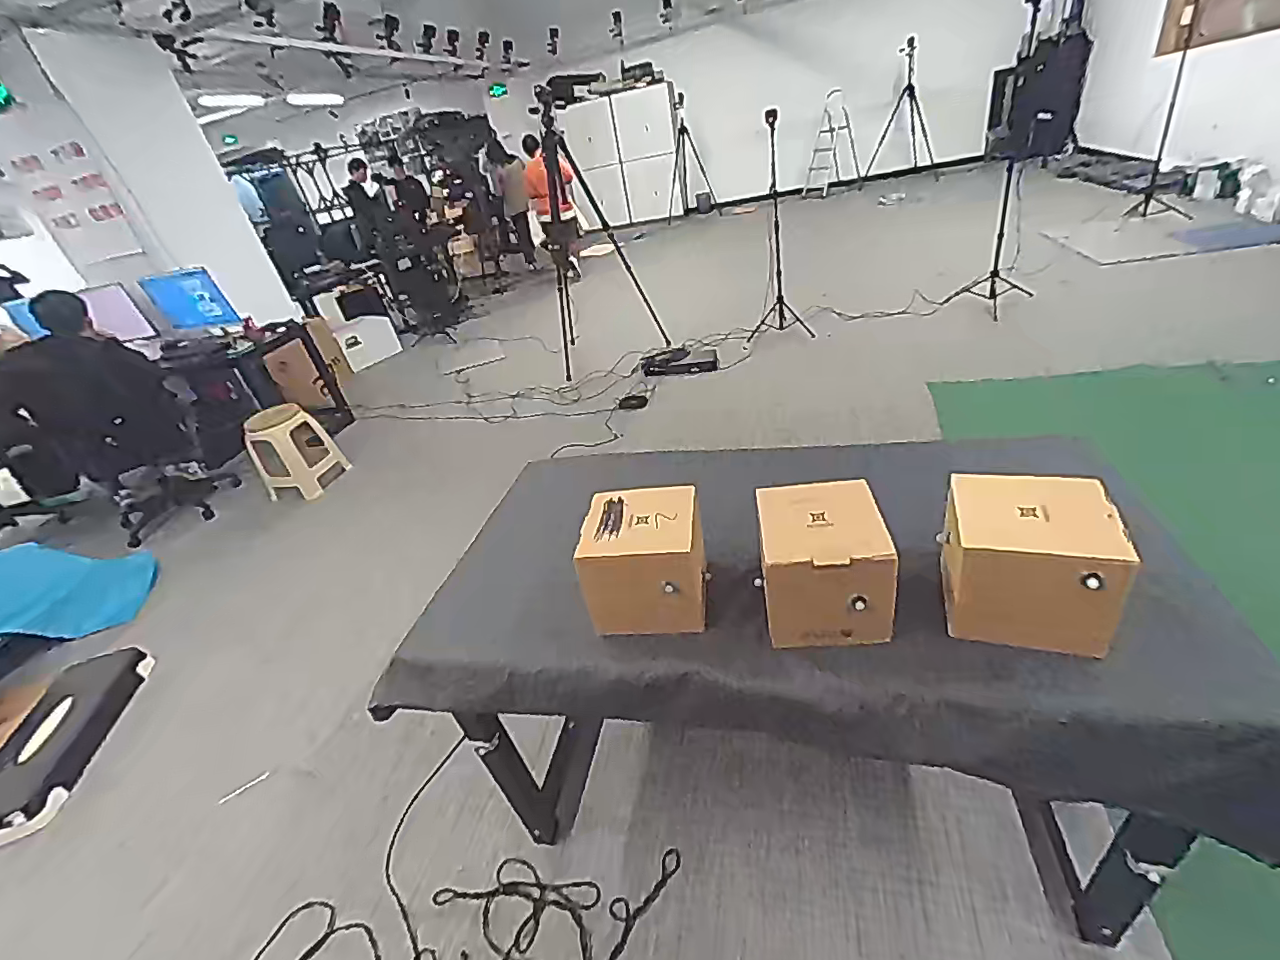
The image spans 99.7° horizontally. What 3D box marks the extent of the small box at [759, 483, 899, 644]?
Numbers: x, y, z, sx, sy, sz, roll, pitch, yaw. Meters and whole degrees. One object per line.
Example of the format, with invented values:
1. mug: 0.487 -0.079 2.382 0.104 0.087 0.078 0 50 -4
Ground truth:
1. small box: 0.270 0.127 0.801 0.168 0.176 0.179 -5 32 10

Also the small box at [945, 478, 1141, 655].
1. small box: 0.521 0.113 0.733 0.179 0.176 0.168 3 35 23
